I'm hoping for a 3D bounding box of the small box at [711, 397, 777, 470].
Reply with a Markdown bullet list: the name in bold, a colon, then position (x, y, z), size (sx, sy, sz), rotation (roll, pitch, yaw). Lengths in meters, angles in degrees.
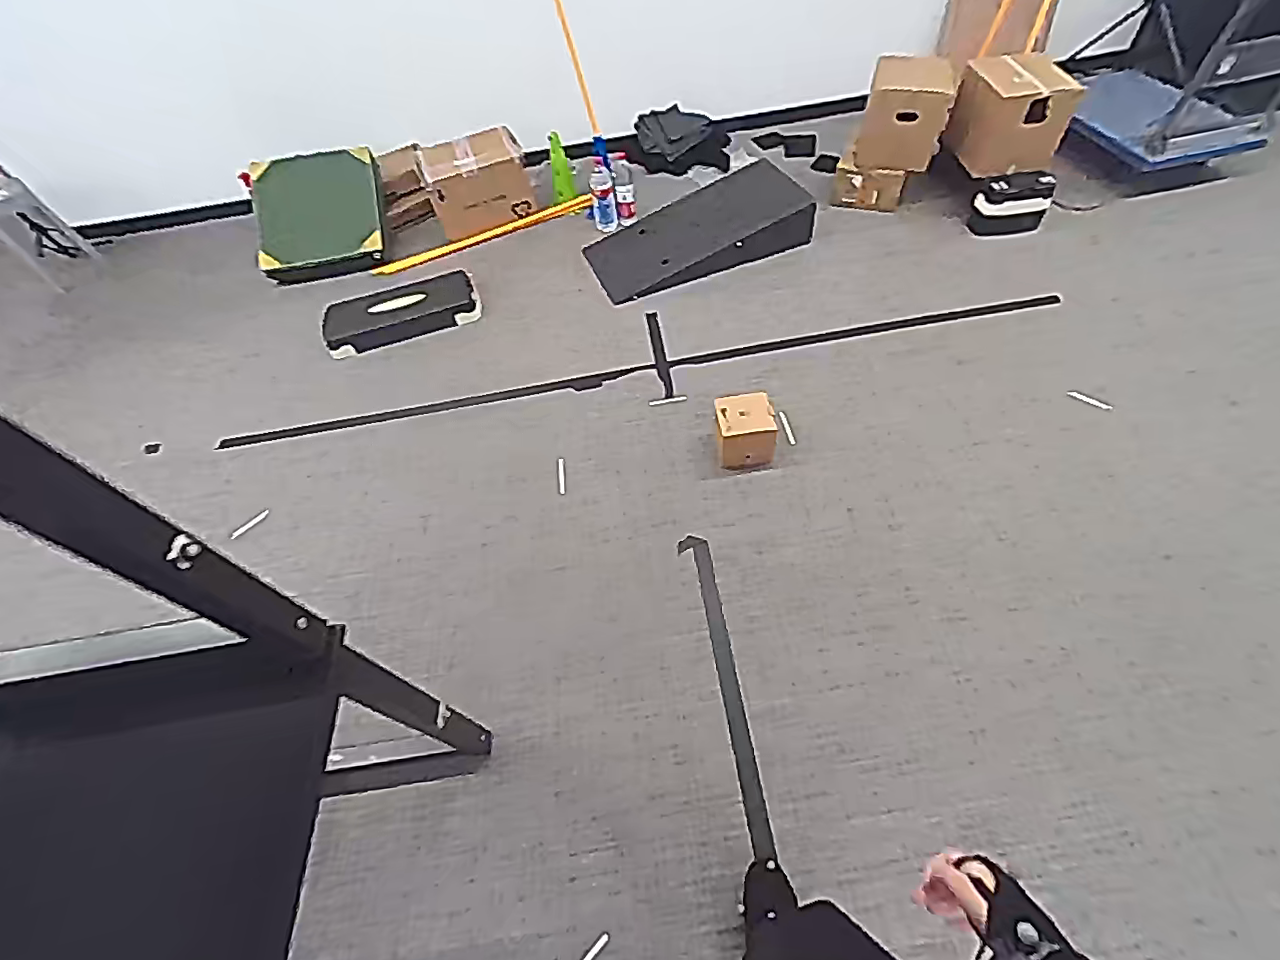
- **small box**: position (0.336, -0.151, 1.783), size (0.179, 0.176, 0.168), rotation (-7, 54, 0)
